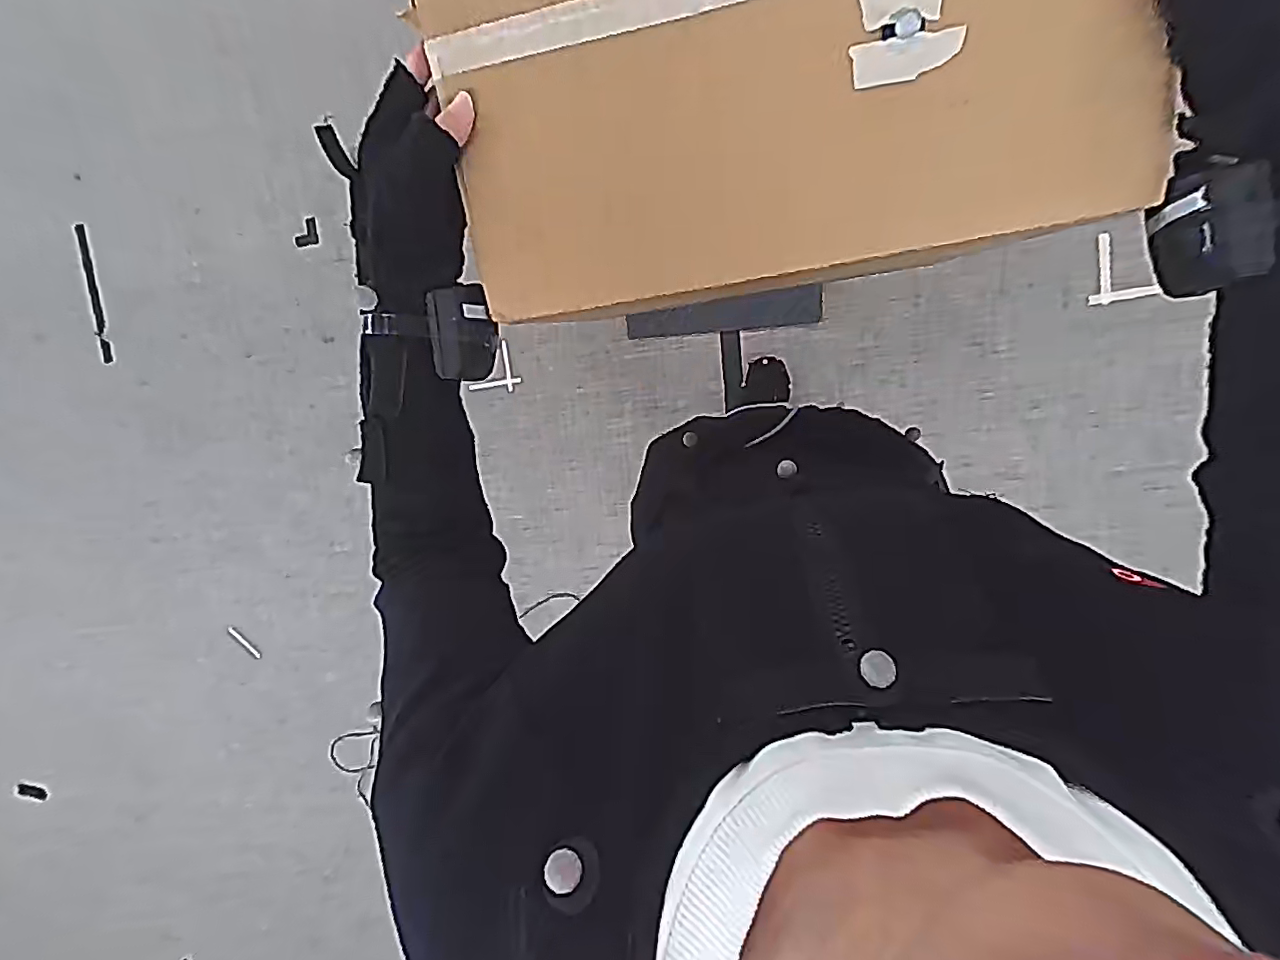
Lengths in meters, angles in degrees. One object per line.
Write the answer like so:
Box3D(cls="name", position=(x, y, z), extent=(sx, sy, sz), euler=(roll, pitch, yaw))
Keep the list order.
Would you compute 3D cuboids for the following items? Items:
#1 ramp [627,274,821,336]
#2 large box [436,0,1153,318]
Box3D(cls="ramp", position=(0.163, -0.858, 1.227), extent=(0.509, 0.206, 0.991), euler=(-5, 99, 8))
Box3D(cls="large box", position=(0.089, -0.330, 0.452), extent=(0.408, 0.320, 0.320), euler=(-8, 106, 8))
